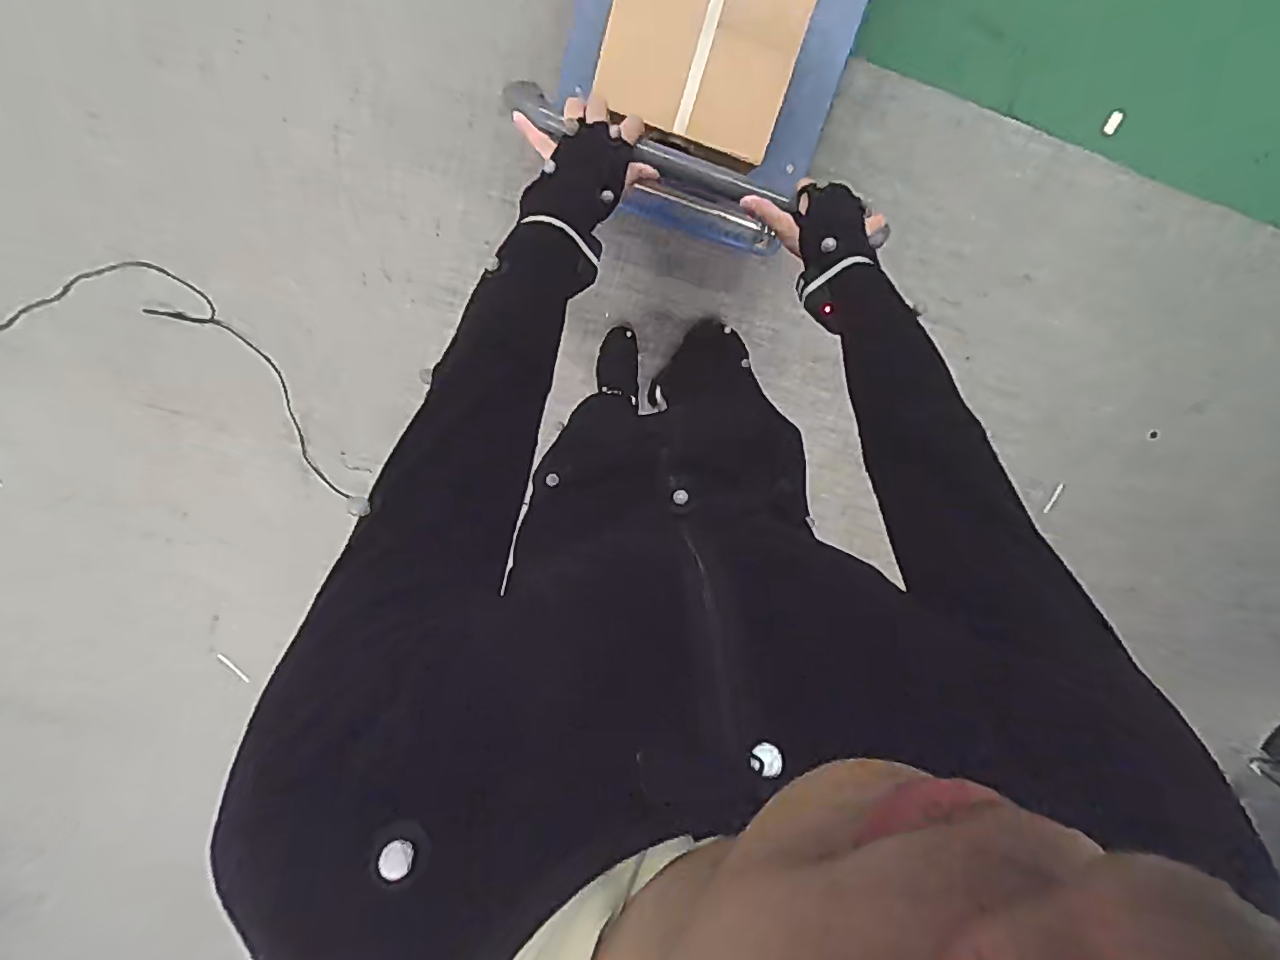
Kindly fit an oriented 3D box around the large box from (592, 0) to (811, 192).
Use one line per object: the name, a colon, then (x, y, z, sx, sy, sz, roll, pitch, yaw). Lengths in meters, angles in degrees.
large box: (0.112, -0.820, 1.012, 0.320, 0.320, 0.408, 15, 108, -8)
